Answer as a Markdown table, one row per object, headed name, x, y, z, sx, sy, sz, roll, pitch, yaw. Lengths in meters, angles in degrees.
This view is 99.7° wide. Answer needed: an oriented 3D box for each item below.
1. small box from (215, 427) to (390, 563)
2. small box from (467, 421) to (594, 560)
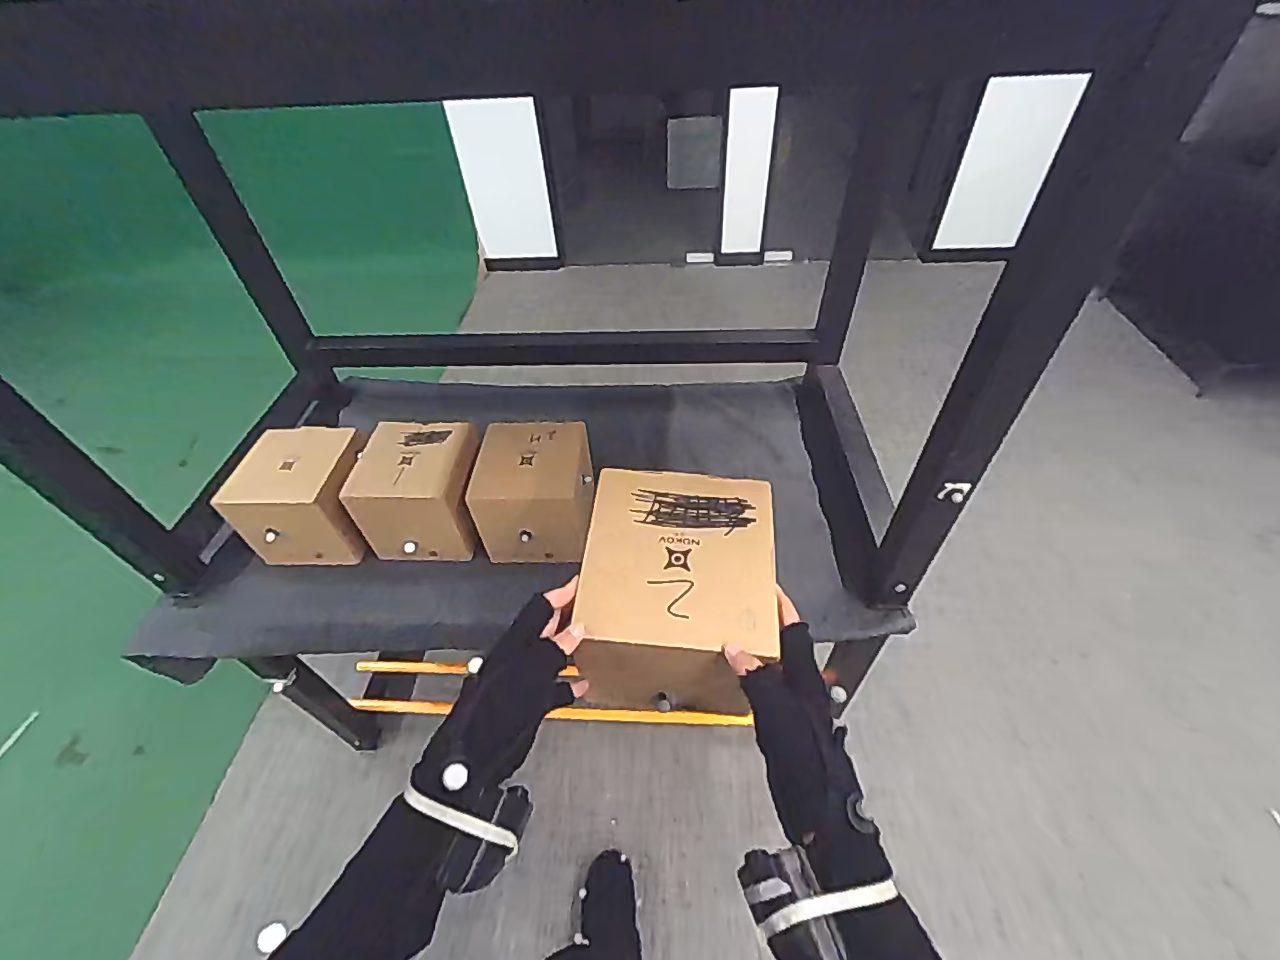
| name | x | y | z | sx | sy | sz | roll | pitch | yaw |
| --- | --- | --- | --- | --- | --- | --- | --- | --- | --- |
| small box | -0.561 | 0.029 | 0.931 | 0.168 | 0.176 | 0.179 | 0 | 46 | 3 |
| small box | -0.171 | 0.021 | 0.912 | 0.168 | 0.176 | 0.179 | 0 | 46 | 3 |
